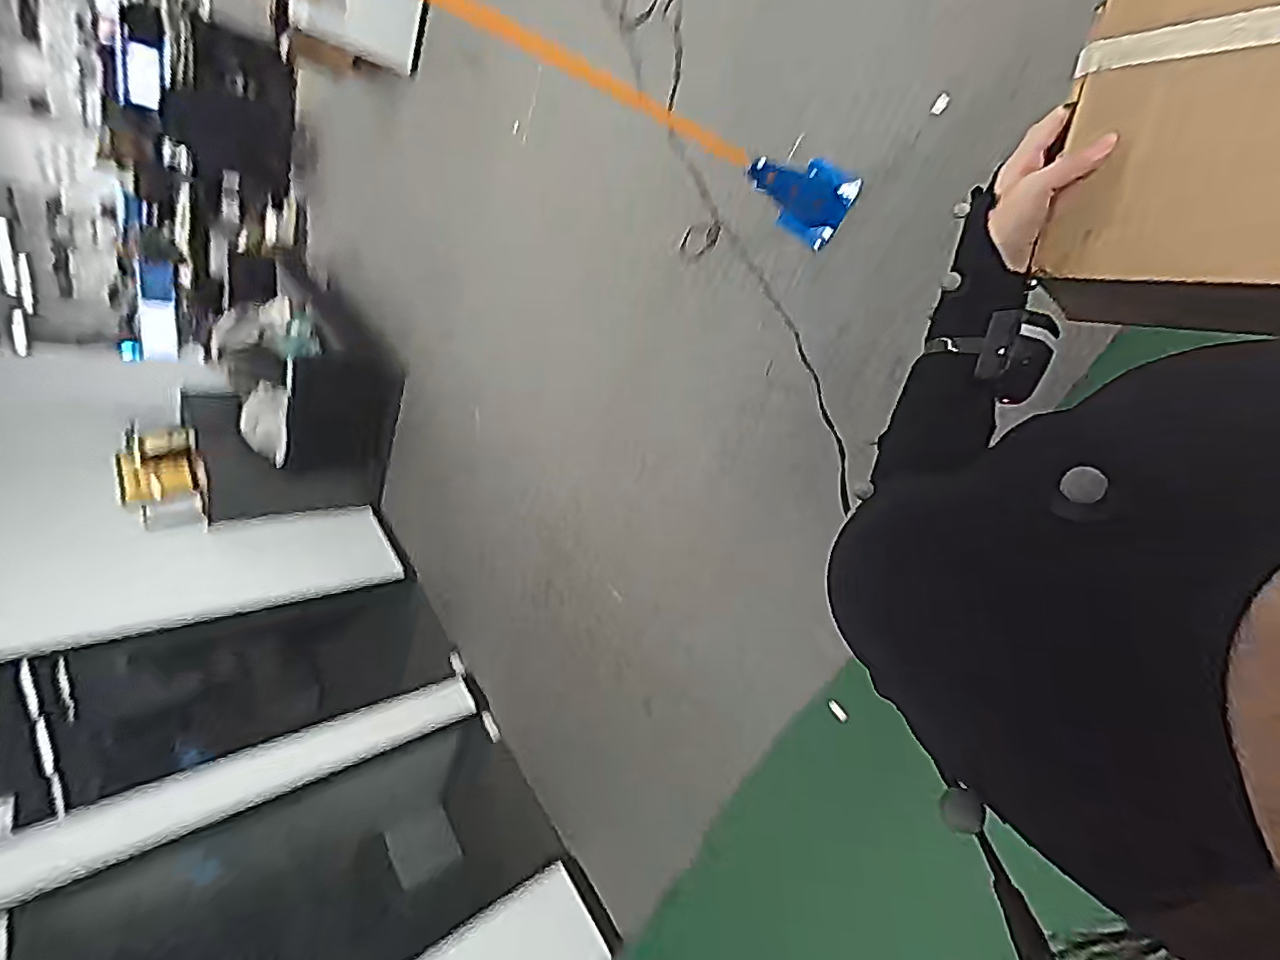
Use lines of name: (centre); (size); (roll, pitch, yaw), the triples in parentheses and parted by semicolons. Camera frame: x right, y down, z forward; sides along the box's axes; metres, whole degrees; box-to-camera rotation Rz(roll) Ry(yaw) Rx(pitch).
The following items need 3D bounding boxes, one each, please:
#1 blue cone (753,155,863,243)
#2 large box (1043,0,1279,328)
blue cone: (0.418, -0.803, 1.464); (0.192, 0.380, 0.193); (52, 128, 28)
large box: (0.587, -0.285, 0.396); (0.408, 0.320, 0.320); (18, 108, 39)
